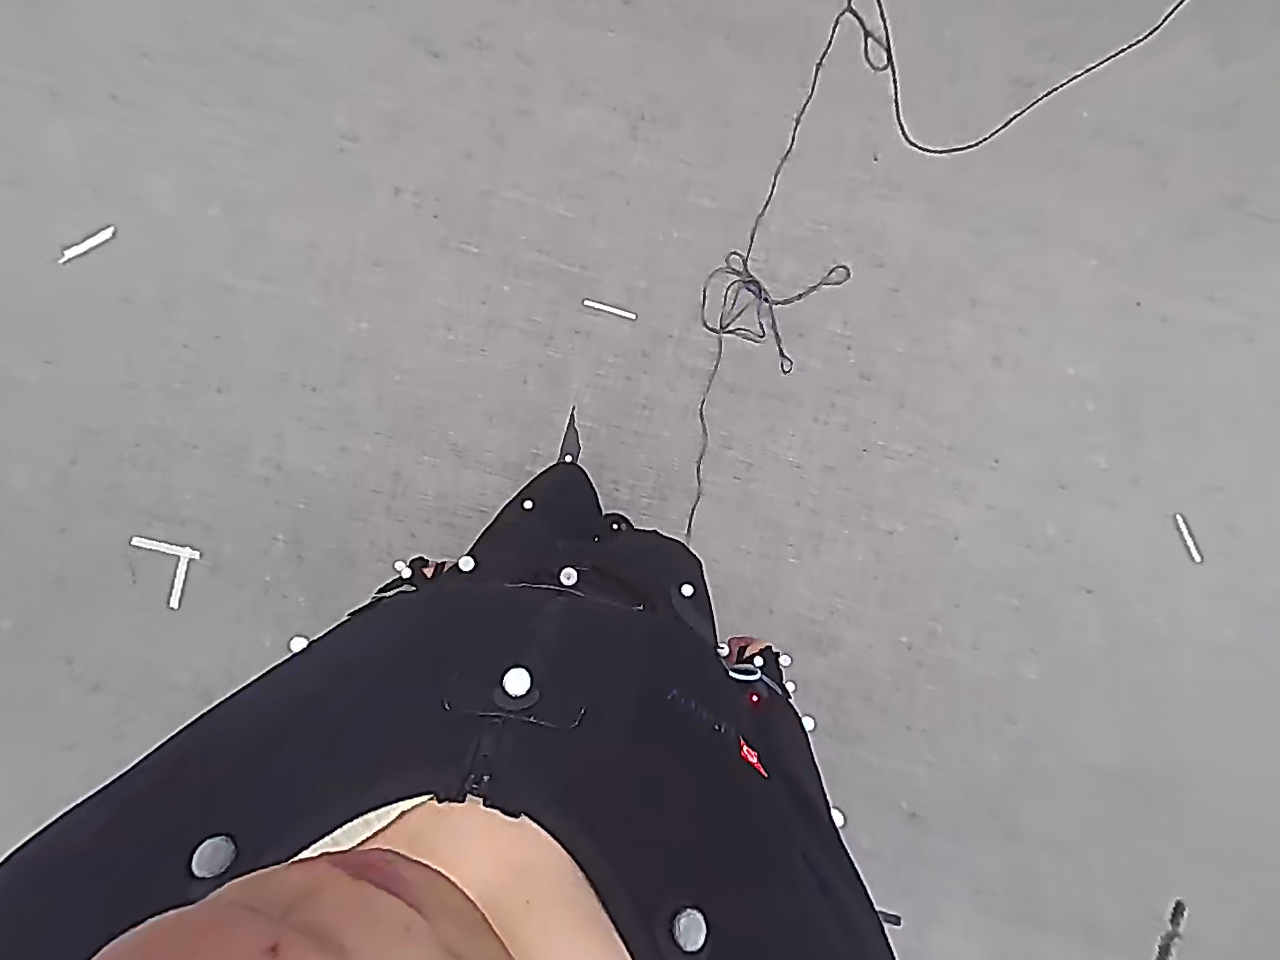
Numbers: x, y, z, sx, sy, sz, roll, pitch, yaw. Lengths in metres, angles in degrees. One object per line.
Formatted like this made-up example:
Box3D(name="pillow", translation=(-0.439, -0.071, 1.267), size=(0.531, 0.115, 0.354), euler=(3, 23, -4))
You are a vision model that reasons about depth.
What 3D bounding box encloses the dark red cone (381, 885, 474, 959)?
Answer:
Box3D(name="dark red cone", translation=(-0.521, 1.121, 1.181), size=(0.201, 0.394, 0.202), euler=(15, 90, -2))
